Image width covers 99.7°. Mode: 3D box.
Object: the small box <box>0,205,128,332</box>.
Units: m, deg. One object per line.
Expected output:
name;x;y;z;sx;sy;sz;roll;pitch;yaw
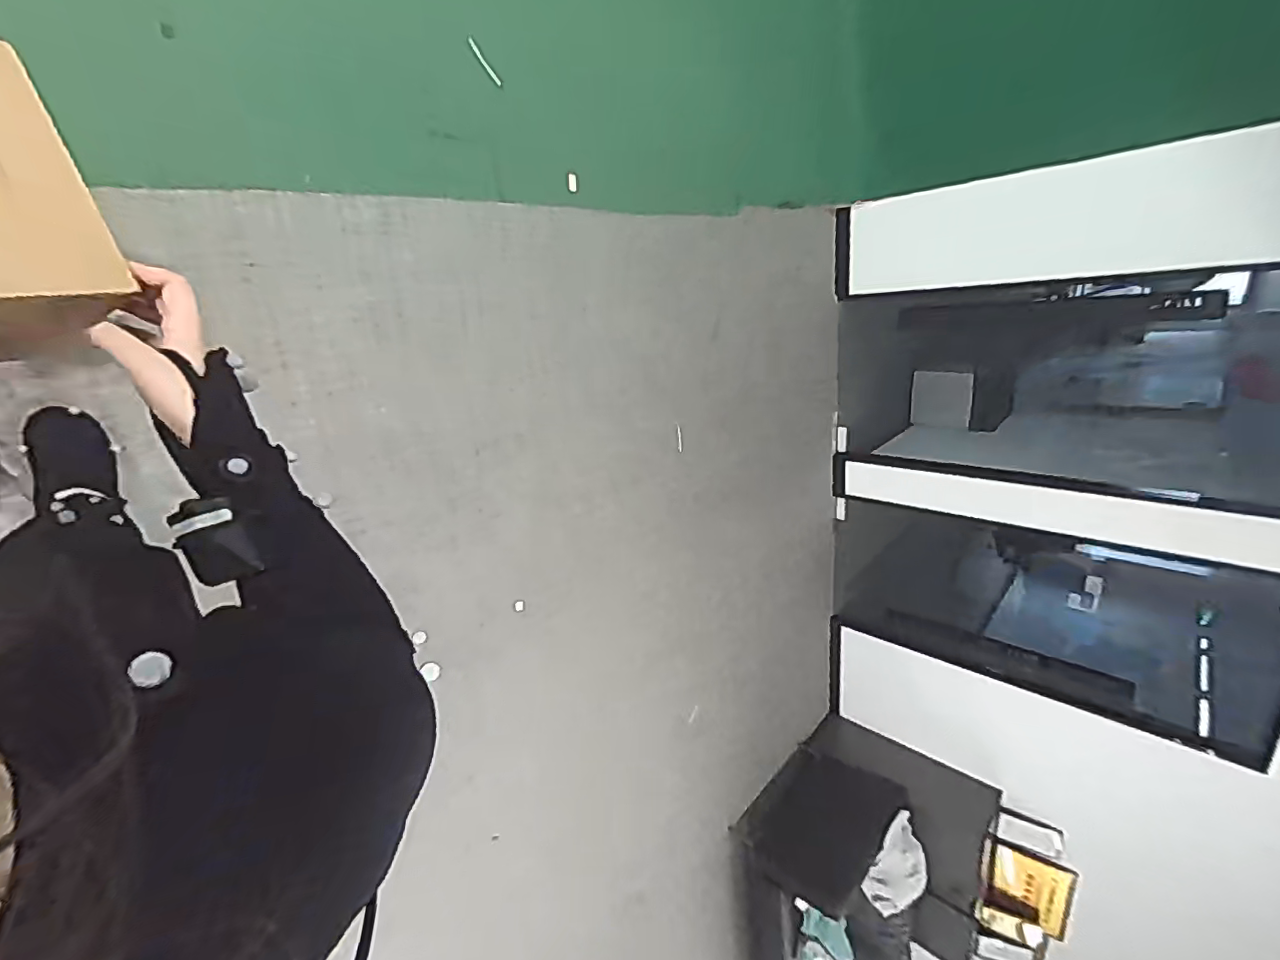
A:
small box;-1.001;-0.345;0.894;0.179;0.176;0.168;-31;122;-39
